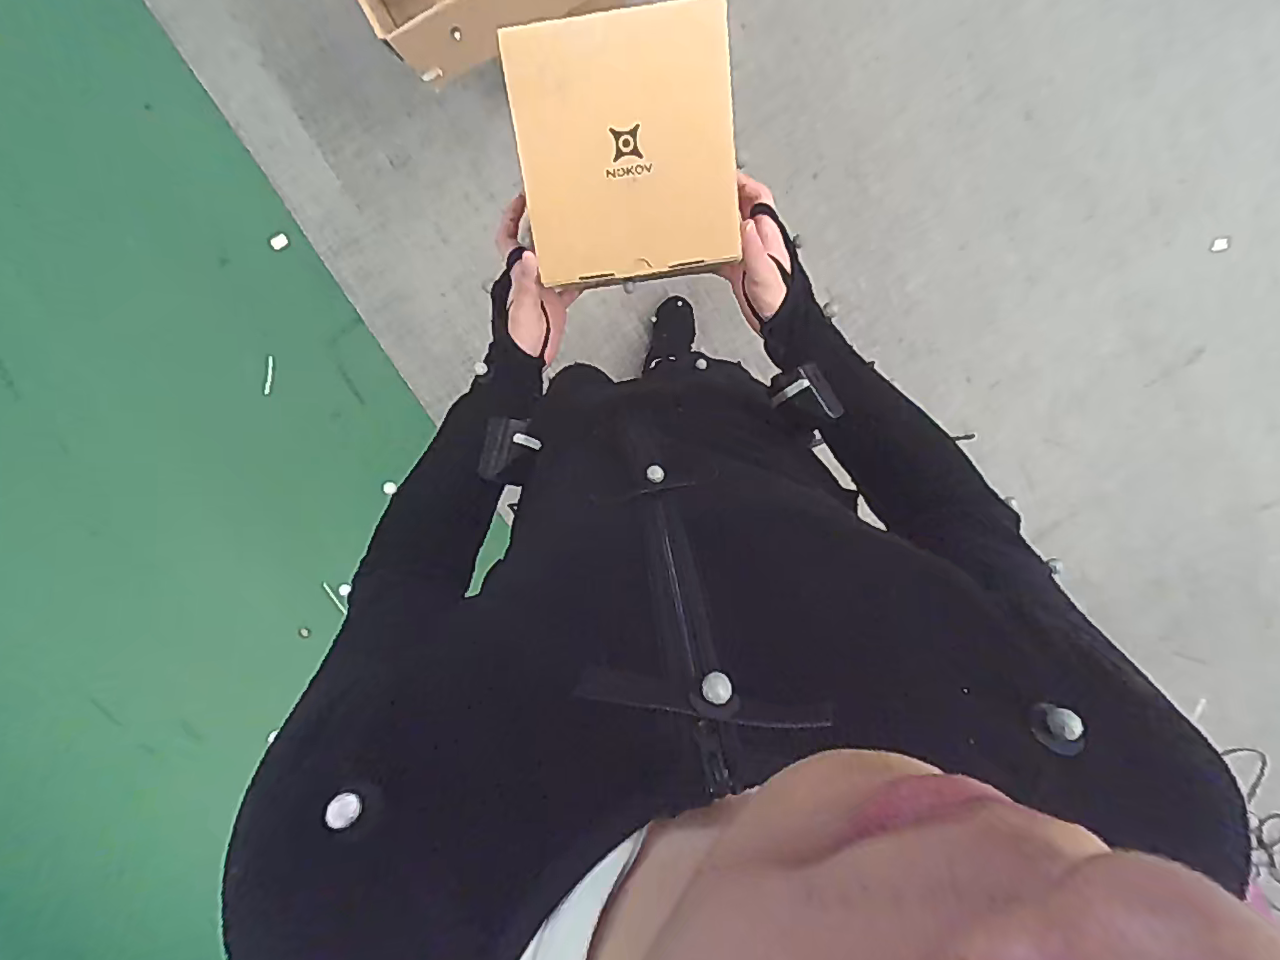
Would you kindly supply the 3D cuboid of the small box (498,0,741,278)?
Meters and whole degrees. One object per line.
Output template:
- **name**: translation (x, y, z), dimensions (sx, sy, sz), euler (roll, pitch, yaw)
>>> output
- **small box**: translation (-0.011, -0.282, 0.481), dimensions (0.168, 0.176, 0.179), euler (-7, 110, 3)
